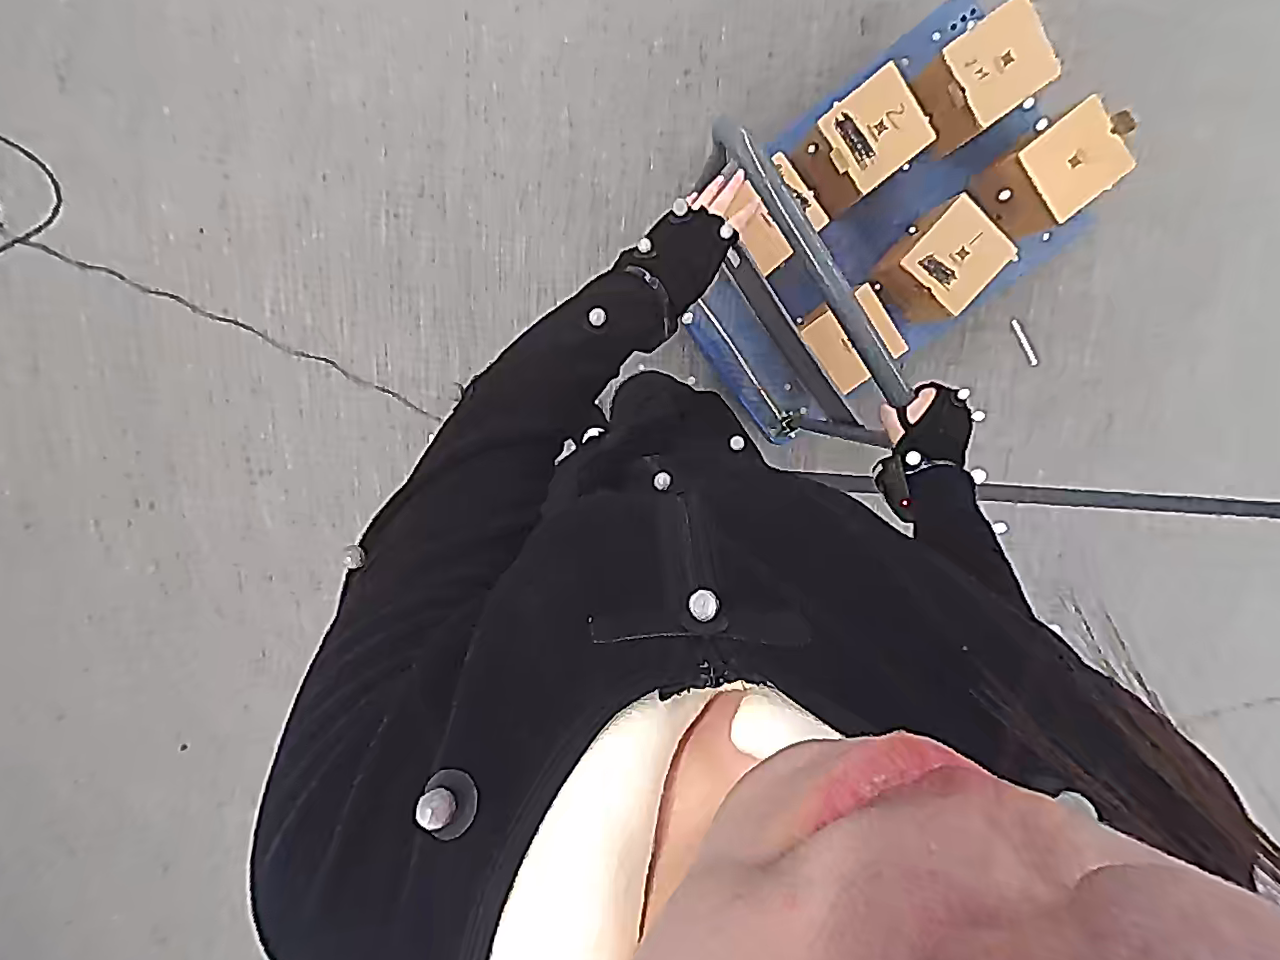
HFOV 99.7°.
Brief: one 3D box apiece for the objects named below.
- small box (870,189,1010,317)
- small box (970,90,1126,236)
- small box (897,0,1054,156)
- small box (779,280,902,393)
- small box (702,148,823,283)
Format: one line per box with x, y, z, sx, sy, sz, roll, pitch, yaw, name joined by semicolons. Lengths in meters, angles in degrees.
0.624;-0.471;1.159;0.168;0.176;0.179;40;97;-9;small box
0.832;-0.645;1.129;0.179;0.176;0.168;-39;100;6;small box
0.664;-0.804;1.090;0.179;0.176;0.168;-35;100;6;small box
0.426;-0.308;1.189;0.179;0.176;0.168;-36;101;5;small box
0.244;-0.538;1.133;0.179;0.176;0.168;-40;101;7;small box
